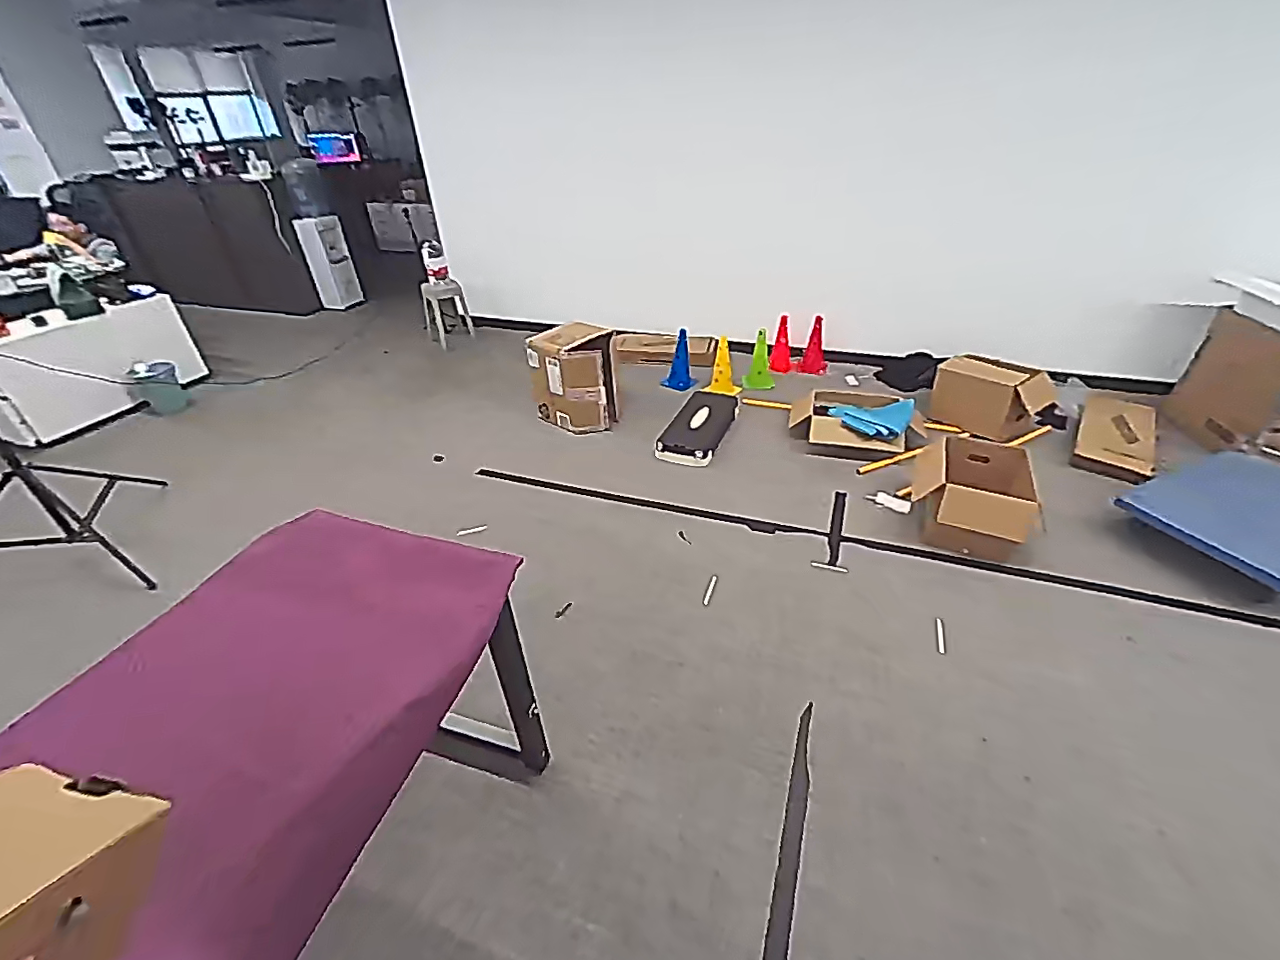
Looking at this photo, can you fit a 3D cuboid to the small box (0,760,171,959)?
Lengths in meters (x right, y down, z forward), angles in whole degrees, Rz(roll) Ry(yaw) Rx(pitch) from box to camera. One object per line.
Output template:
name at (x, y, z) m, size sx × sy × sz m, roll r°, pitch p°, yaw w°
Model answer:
small box at (-0.603, 0.404, 0.499) m, size 0.168 × 0.176 × 0.179 m, roll 17°, pitch 0°, yaw 0°
